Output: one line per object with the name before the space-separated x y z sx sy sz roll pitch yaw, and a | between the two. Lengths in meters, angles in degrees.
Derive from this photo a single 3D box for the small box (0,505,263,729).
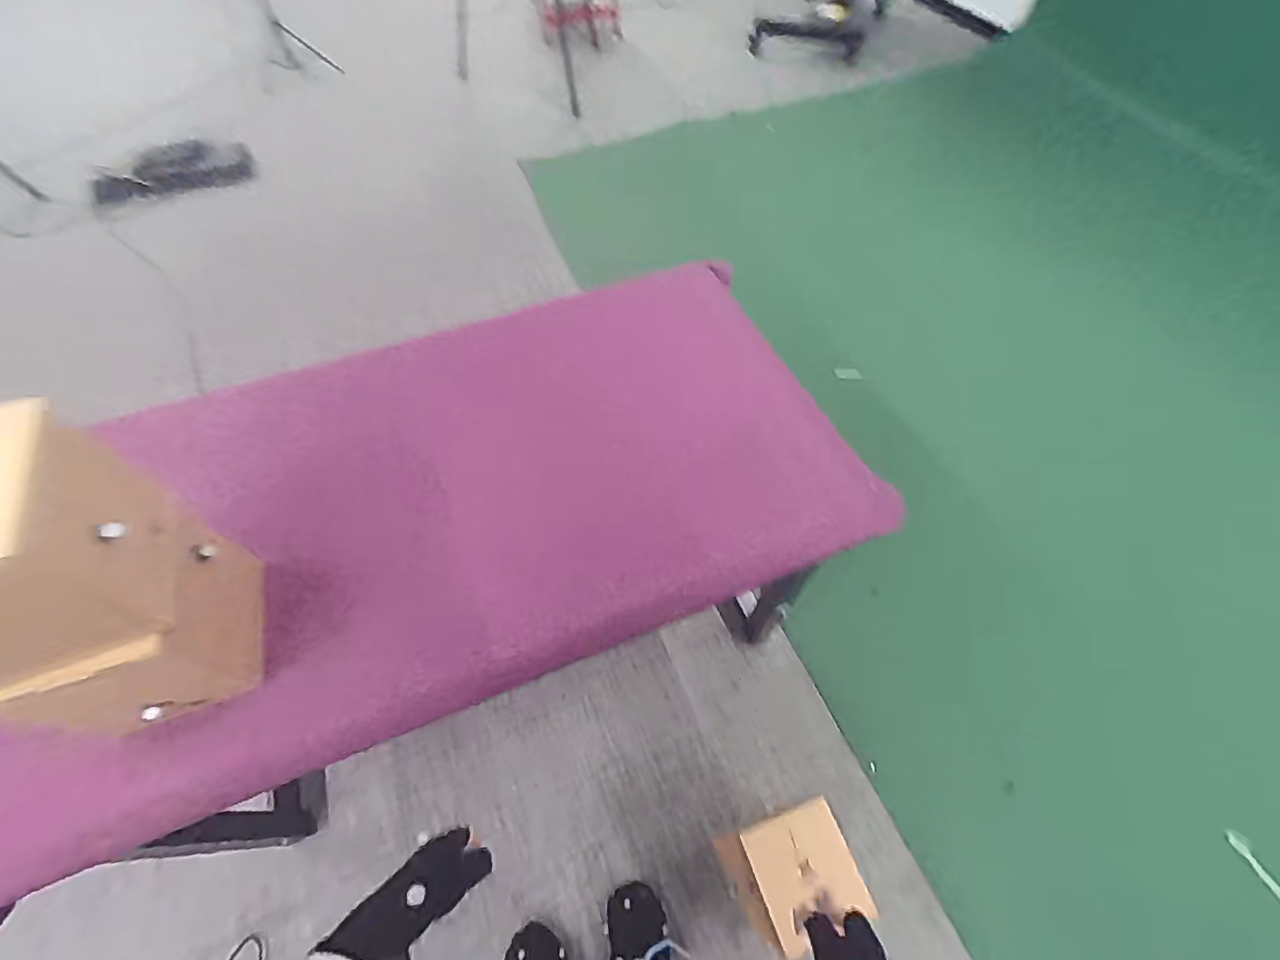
small box | -0.561 0.159 0.613 0.168 0.176 0.179 -16 60 -11

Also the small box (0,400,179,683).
small box | -0.559 0.062 0.482 0.179 0.176 0.168 -20 60 -12

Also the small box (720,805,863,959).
small box | 0.255 0.698 0.956 0.168 0.176 0.179 -16 59 -10
